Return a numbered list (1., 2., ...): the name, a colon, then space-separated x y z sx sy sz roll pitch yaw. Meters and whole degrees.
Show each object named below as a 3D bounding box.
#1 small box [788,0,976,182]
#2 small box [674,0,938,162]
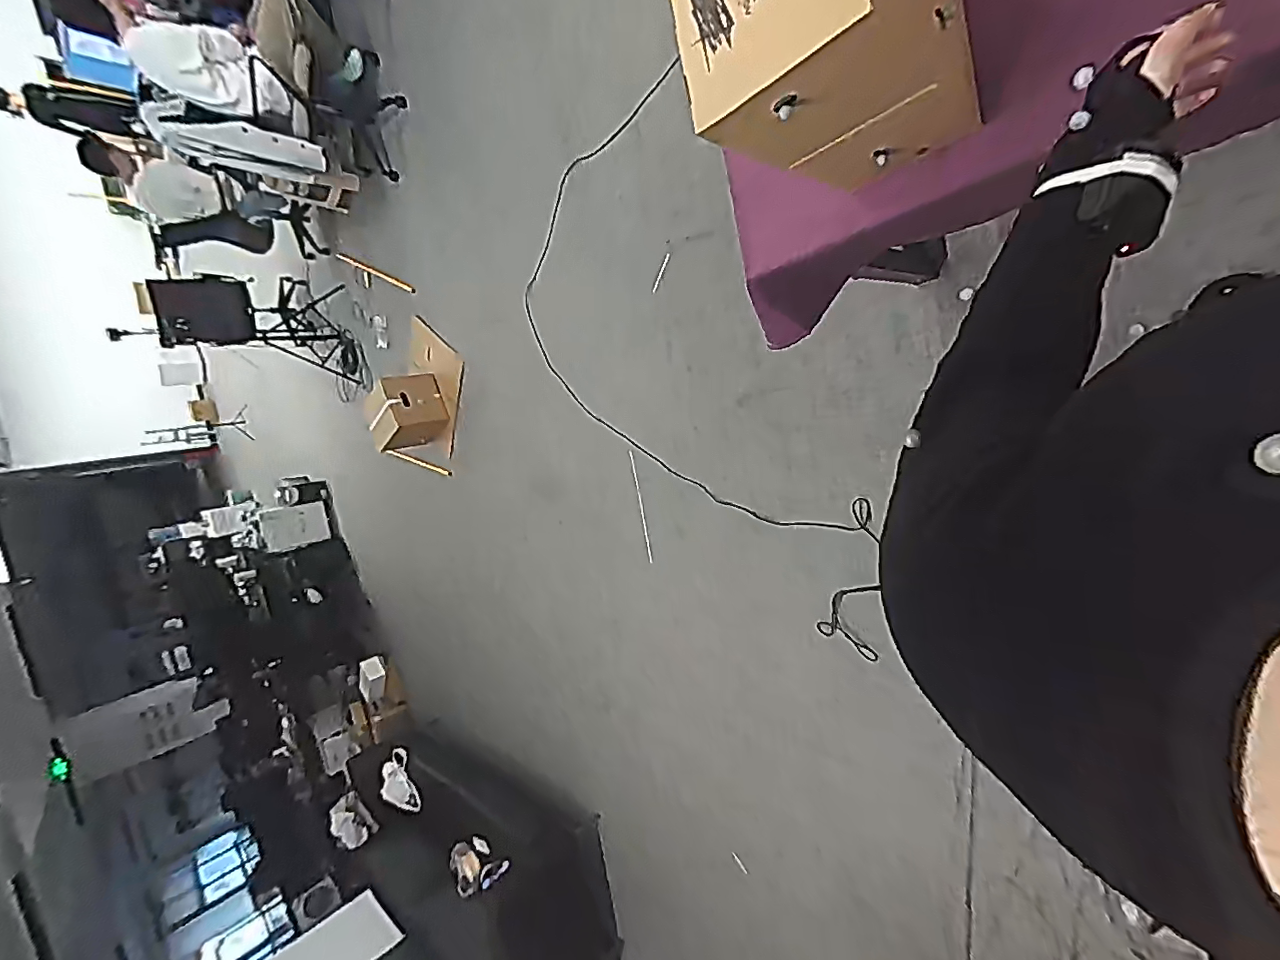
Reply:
1. small box: 0.273 -0.475 0.633 0.168 0.176 0.179 -7 96 46
2. small box: 0.157 -0.441 0.521 0.179 0.176 0.168 -8 96 46
